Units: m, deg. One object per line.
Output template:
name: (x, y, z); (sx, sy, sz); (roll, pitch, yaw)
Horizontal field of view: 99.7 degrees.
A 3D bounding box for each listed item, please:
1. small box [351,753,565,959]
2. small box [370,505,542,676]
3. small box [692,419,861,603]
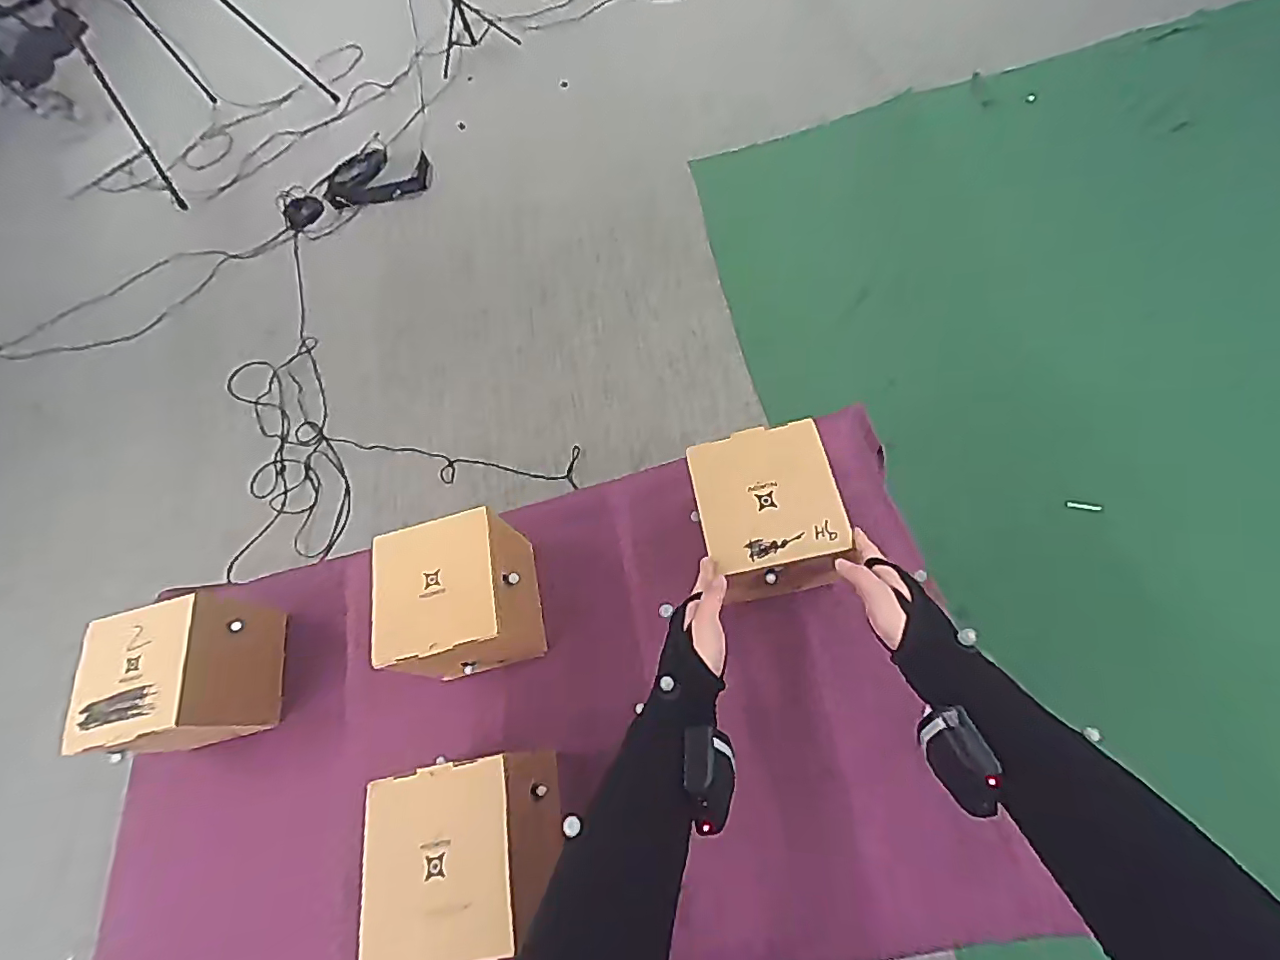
small box: (-0.193, 0.419, 0.614); (0.168, 0.176, 0.179); (-14, 63, 6)
small box: (-0.246, 0.159, 0.748); (0.168, 0.176, 0.179); (-15, 64, 4)
small box: (0.169, 0.049, 0.712); (0.168, 0.176, 0.179); (-13, 65, 7)
